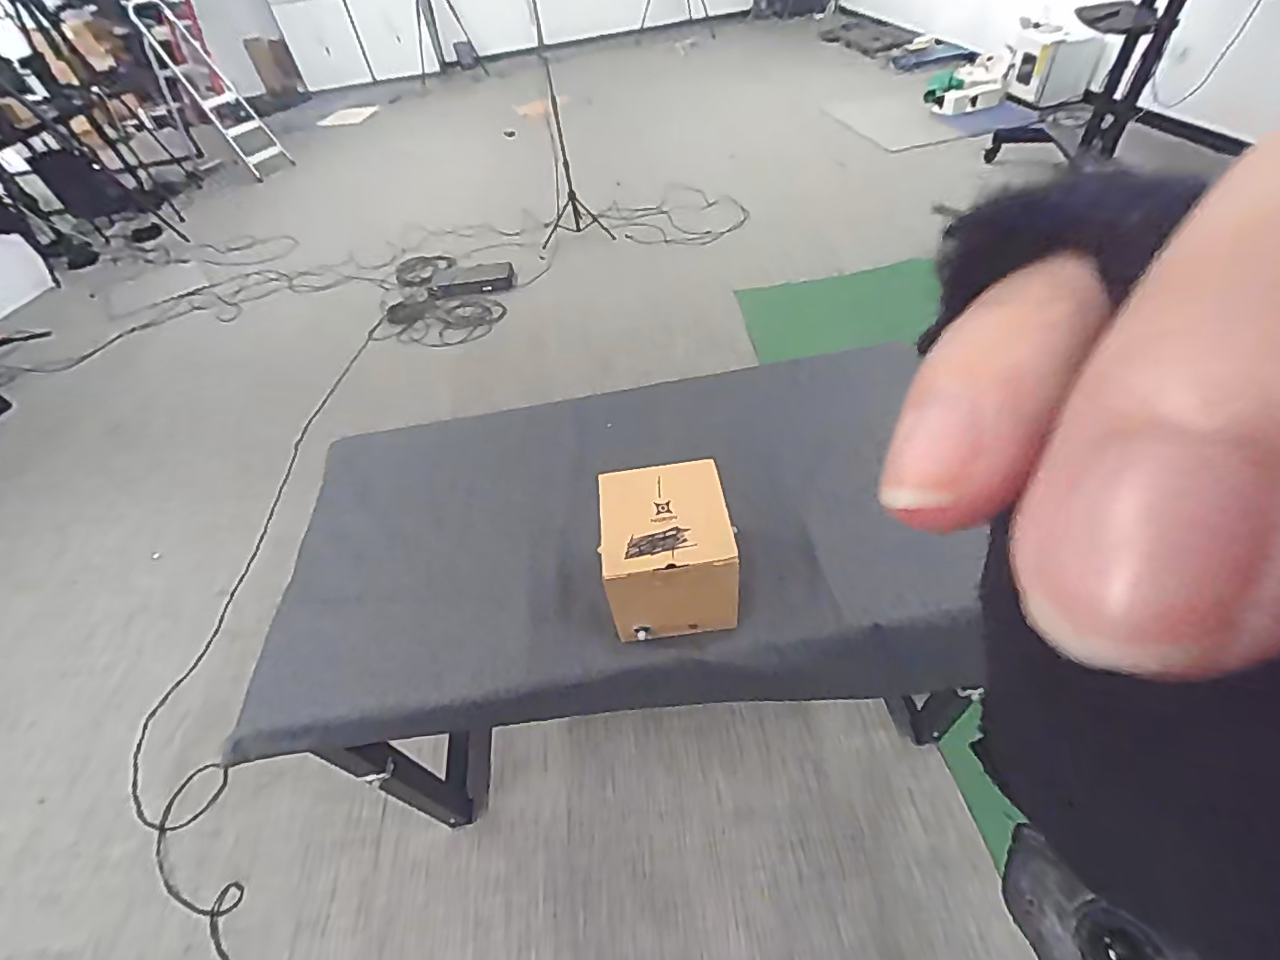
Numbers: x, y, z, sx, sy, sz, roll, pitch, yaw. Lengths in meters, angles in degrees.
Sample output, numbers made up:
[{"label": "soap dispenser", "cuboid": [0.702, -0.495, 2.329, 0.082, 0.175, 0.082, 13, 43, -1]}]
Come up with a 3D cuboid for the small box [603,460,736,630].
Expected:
[{"label": "small box", "cuboid": [0.042, 0.098, 0.769, 0.168, 0.176, 0.179, -7, 46, 2]}]
